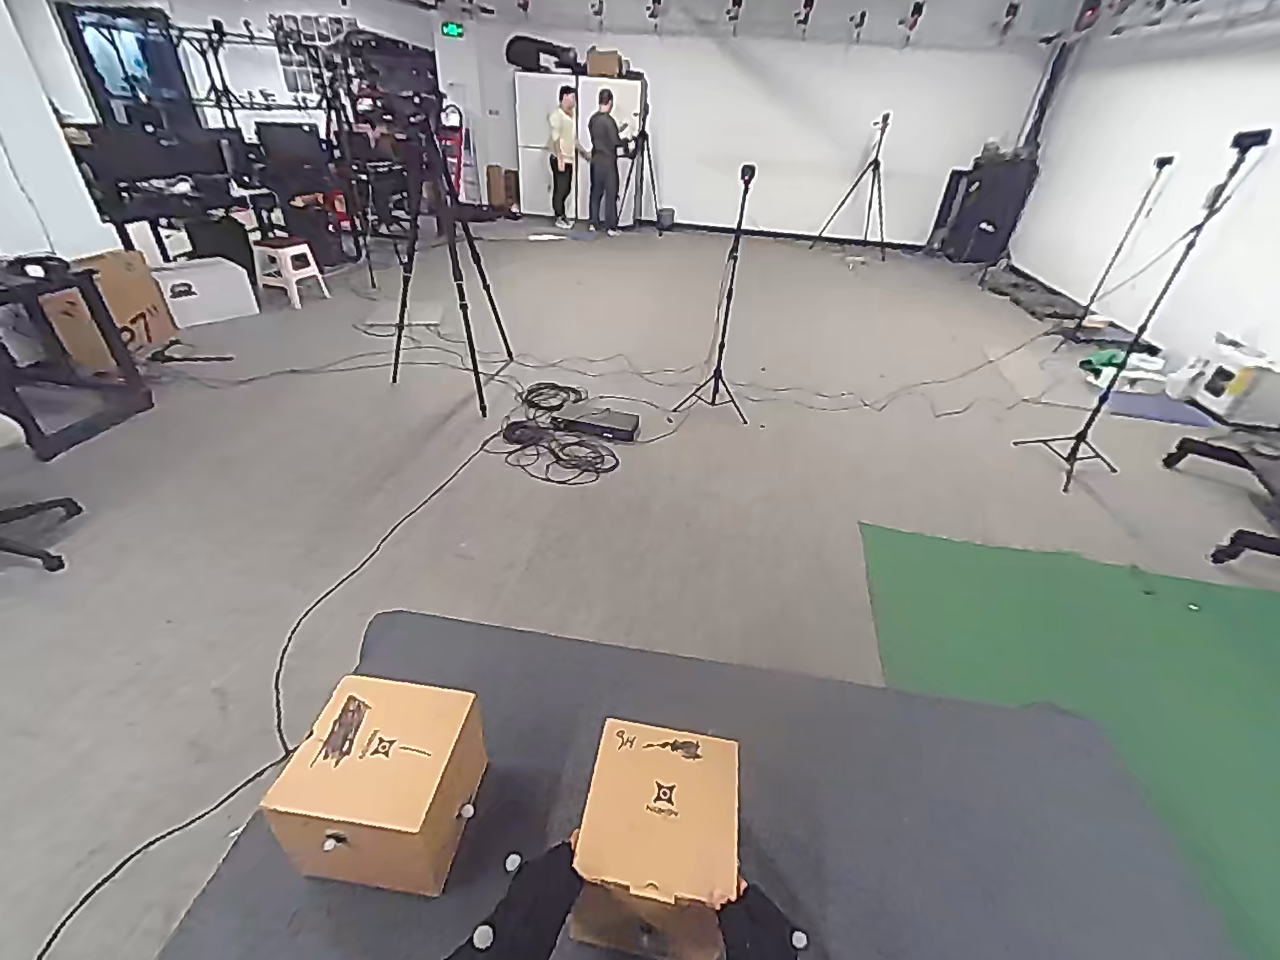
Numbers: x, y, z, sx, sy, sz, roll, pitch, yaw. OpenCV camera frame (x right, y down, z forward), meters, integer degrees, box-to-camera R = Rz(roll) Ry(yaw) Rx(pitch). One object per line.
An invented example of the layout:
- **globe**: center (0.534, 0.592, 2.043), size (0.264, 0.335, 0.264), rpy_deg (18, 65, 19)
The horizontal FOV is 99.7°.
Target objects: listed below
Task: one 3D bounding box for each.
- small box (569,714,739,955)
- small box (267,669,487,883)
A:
- **small box**: center (0.021, 0.415, 0.638), size (0.168, 0.176, 0.179), rpy_deg (8, 34, 6)
- **small box**: center (-0.305, 0.366, 0.672), size (0.179, 0.176, 0.168), rpy_deg (8, 35, 3)
